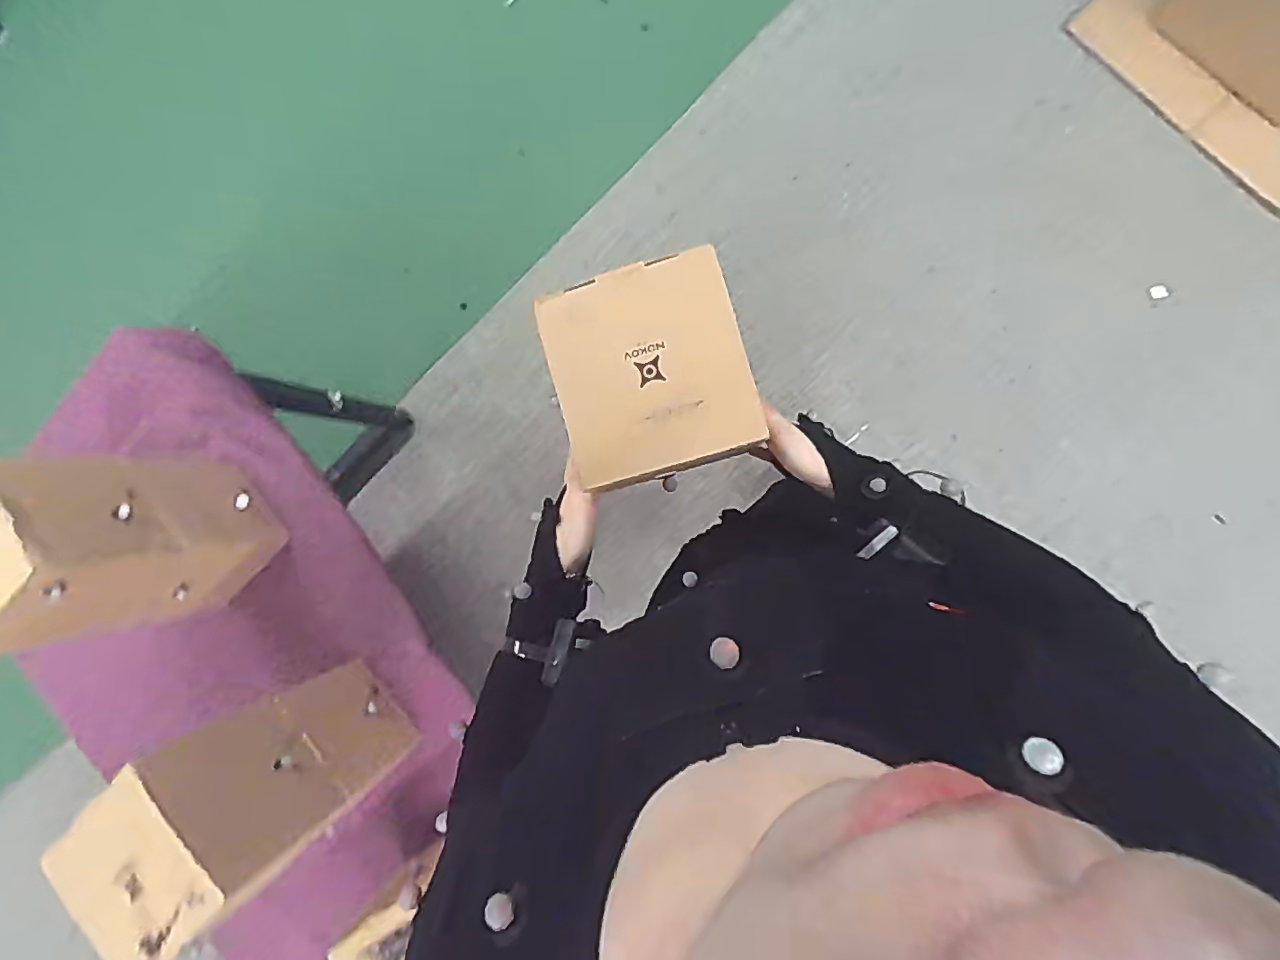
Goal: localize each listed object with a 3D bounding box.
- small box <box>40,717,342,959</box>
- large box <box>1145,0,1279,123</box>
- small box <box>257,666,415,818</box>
[{"bbox_3d":[-0.496,0.403,0.619,0.168,0.176,0.179,-45,82,8],"label":"small box"},{"bbox_3d":[1.453,-1.088,1.146,0.320,0.320,0.408,-44,84,7],"label":"large box"},{"bbox_3d":[-0.469,0.405,0.780,0.179,0.176,0.168,-45,83,7],"label":"small box"}]
